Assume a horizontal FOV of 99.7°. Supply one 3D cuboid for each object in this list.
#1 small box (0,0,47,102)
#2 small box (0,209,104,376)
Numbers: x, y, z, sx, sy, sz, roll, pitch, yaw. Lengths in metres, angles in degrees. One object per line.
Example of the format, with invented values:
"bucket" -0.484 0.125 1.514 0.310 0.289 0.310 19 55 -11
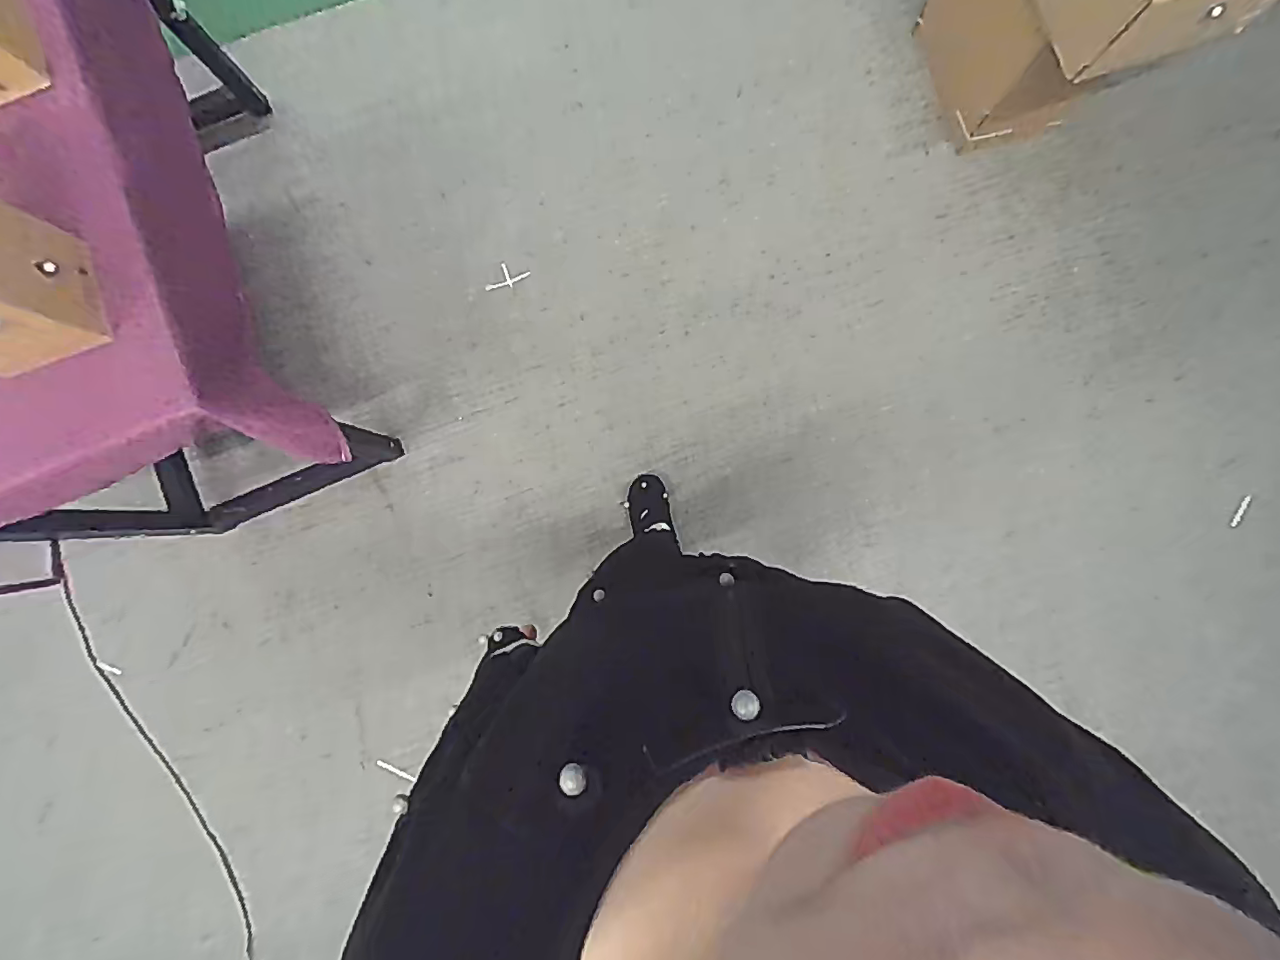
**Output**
"small box" -1.024 -0.669 0.772 0.168 0.176 0.179 -21 86 0
"small box" -0.897 -0.262 0.740 0.179 0.176 0.168 -20 85 1
